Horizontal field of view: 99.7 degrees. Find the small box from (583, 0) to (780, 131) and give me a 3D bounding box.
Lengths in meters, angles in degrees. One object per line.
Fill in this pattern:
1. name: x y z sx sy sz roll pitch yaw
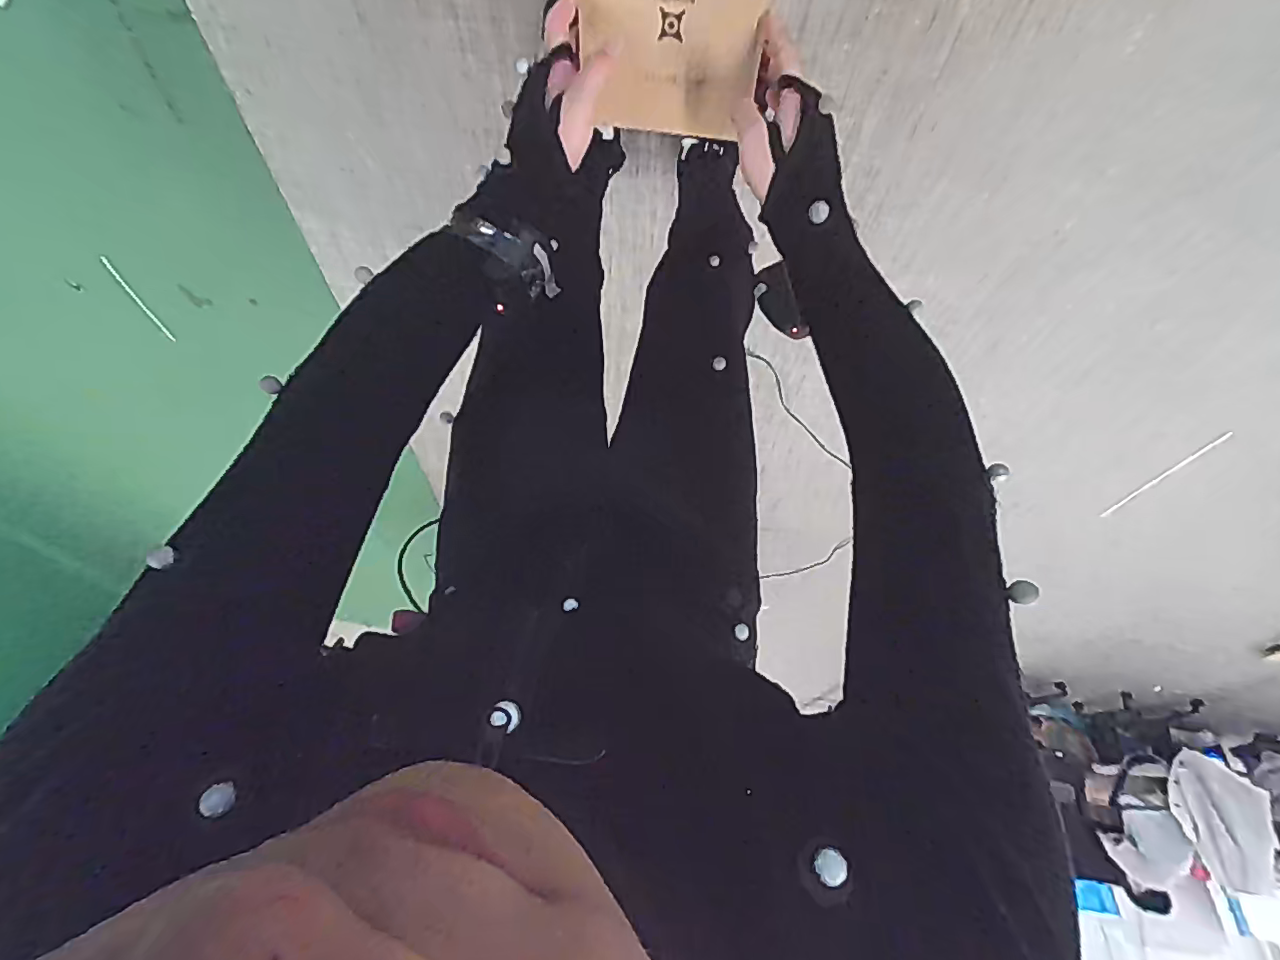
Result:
1. small box: 0.044 -0.460 0.497 0.168 0.176 0.179 10 143 3
